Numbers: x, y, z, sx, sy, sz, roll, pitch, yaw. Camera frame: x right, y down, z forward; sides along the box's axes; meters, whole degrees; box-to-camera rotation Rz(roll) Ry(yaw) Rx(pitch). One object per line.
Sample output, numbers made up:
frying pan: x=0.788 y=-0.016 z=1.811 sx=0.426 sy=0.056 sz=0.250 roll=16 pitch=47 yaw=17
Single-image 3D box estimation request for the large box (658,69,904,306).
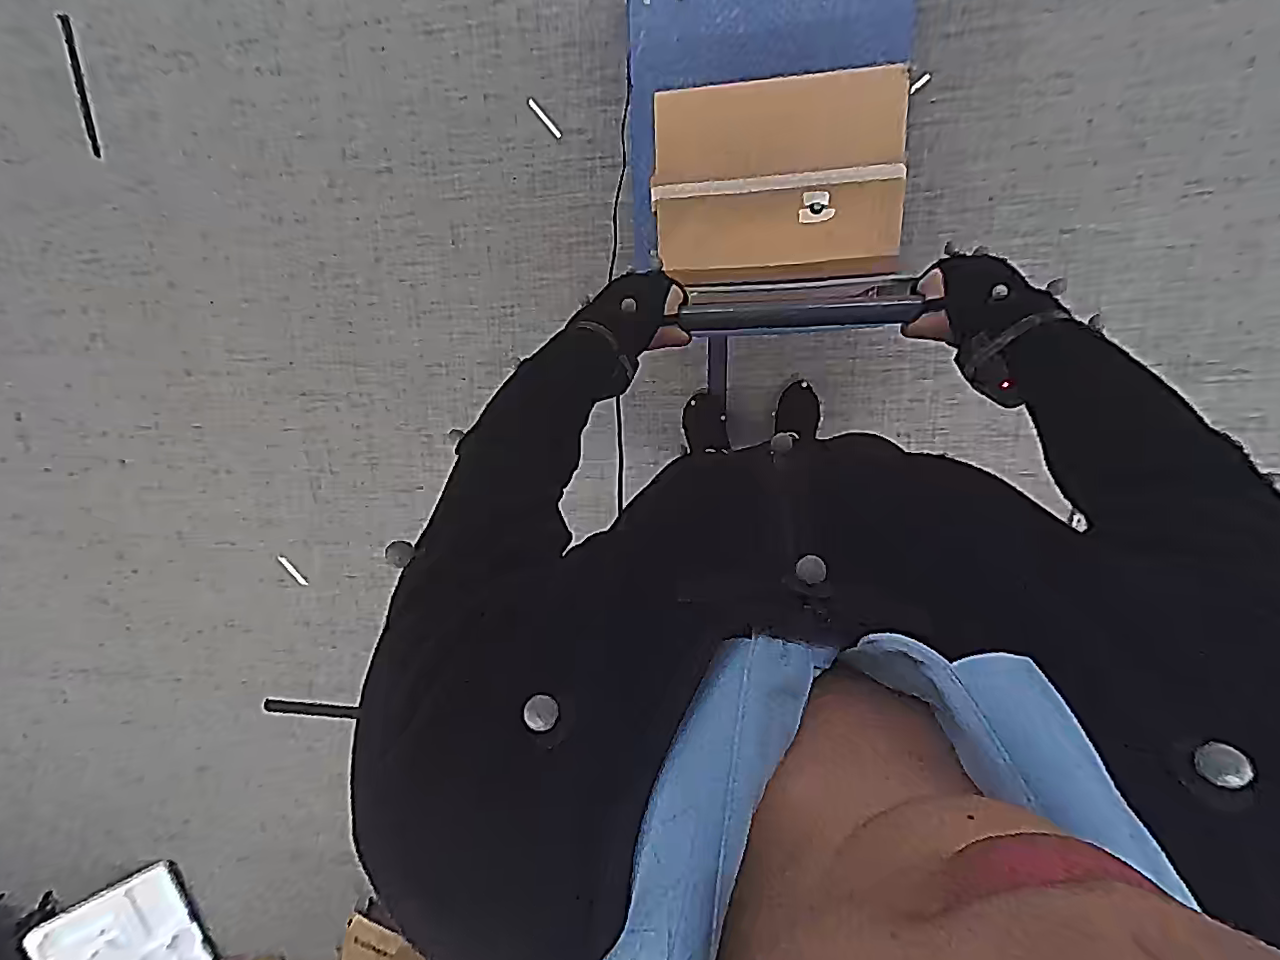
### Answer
large box: x=0.253 y=-0.532 z=1.065 sx=0.408 sy=0.320 sz=0.320 roll=0 pitch=102 yaw=9
